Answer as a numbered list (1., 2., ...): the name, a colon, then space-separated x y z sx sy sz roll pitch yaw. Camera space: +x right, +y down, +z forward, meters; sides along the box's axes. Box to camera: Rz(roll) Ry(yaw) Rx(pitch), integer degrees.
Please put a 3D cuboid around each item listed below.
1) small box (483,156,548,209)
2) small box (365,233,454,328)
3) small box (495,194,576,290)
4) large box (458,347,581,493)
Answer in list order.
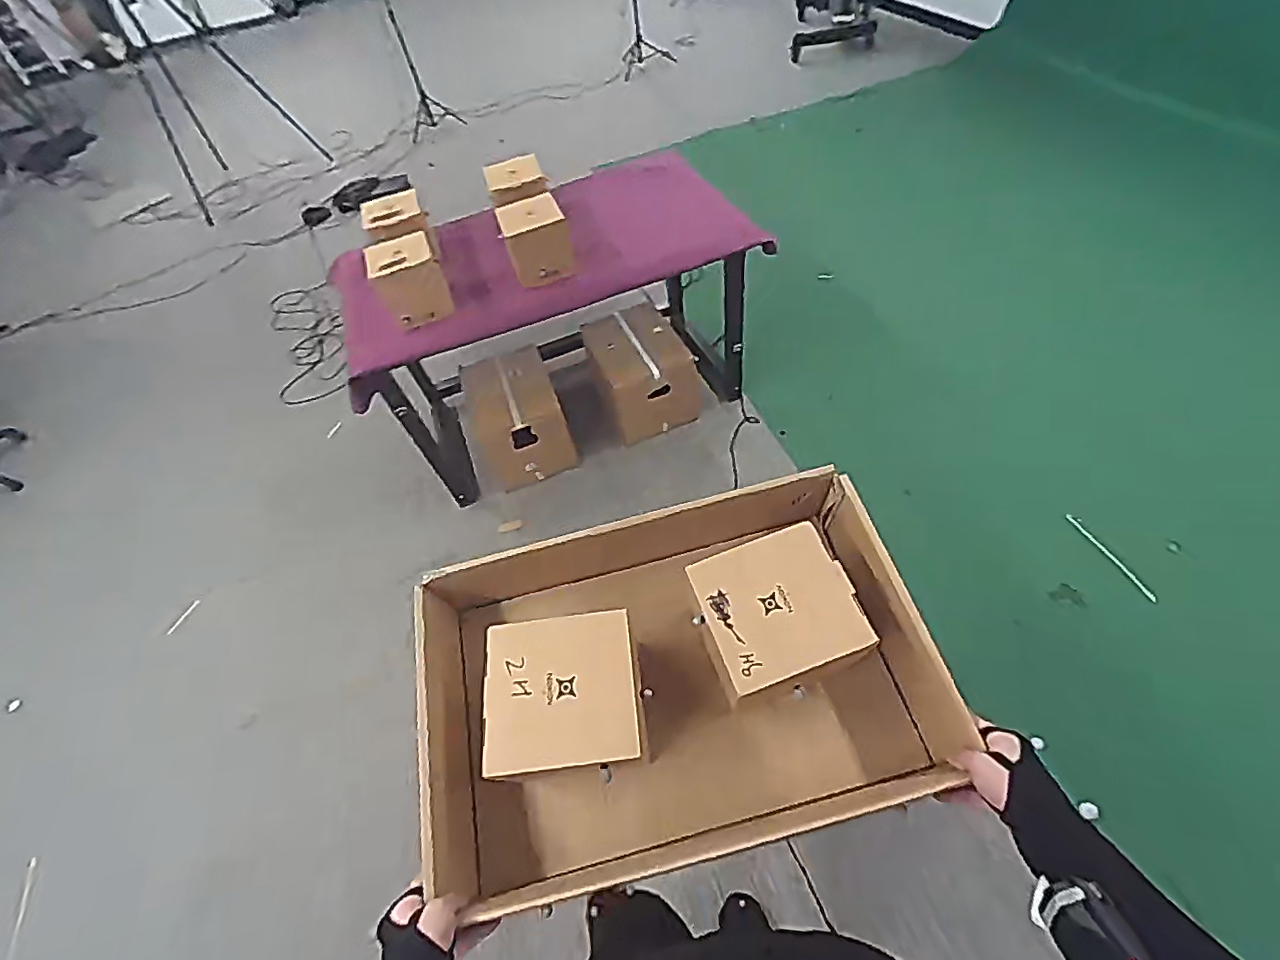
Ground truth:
1. small box: -0.375 -0.873 1.690 0.168 0.176 0.179 -19 54 -5
2. small box: -0.629 -0.539 1.484 0.168 0.176 0.179 -22 52 -7
3. small box: -0.293 -0.669 1.525 0.168 0.176 0.179 -20 53 -5
4. large box: -0.453 -0.227 2.056 0.320 0.320 0.408 -21 52 -7
